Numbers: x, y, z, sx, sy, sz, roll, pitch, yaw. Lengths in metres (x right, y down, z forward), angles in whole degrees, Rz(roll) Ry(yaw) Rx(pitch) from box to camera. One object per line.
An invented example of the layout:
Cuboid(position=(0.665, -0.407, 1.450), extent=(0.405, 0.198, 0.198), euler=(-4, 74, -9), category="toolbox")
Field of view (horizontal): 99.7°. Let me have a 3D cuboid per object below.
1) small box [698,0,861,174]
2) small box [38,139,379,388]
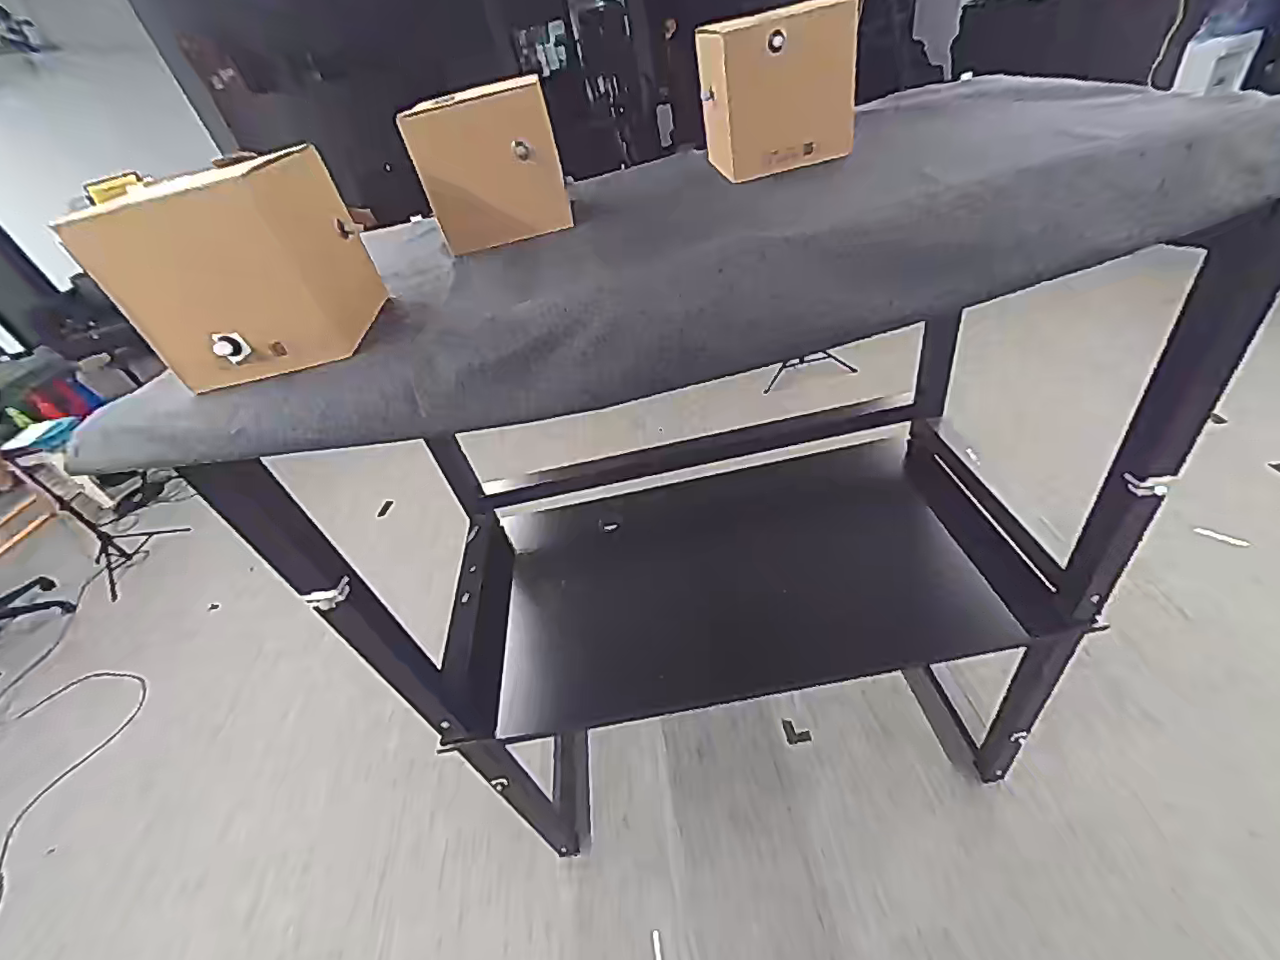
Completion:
Cuboid(position=(0.183, -0.537, 0.738), extent=(0.168, 0.176, 0.179), euler=(-13, 39, 3), category="small box")
Cuboid(position=(-0.387, -0.214, 0.534), extent=(0.168, 0.176, 0.179), euler=(-14, 39, 1), category="small box")
